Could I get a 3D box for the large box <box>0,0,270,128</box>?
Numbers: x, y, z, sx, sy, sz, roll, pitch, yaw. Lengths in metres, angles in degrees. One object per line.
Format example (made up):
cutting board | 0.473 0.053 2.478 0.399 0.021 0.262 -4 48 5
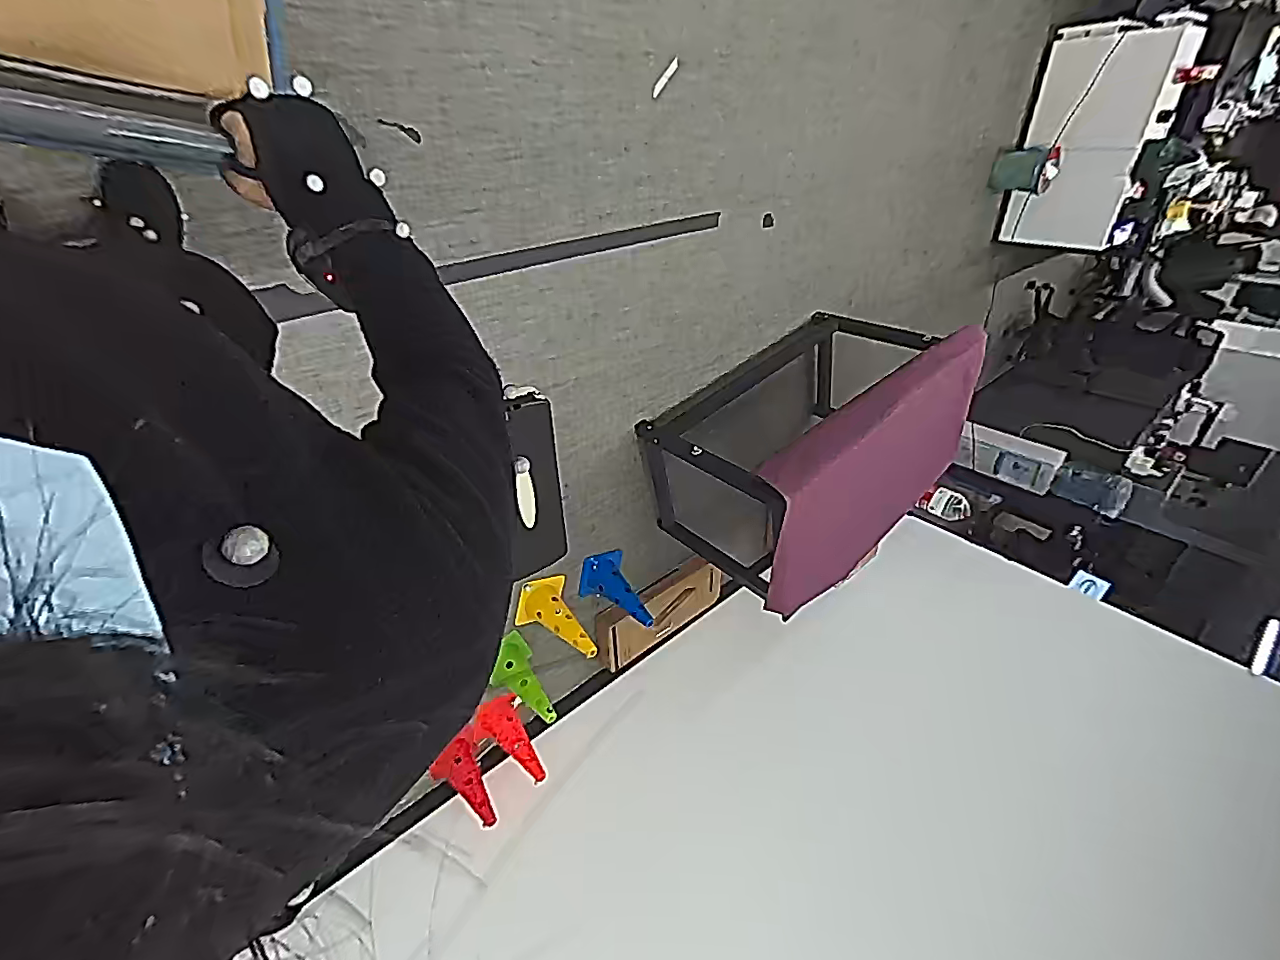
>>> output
large box | -0.733 -0.650 0.648 0.408 0.320 0.320 -14 122 -40
